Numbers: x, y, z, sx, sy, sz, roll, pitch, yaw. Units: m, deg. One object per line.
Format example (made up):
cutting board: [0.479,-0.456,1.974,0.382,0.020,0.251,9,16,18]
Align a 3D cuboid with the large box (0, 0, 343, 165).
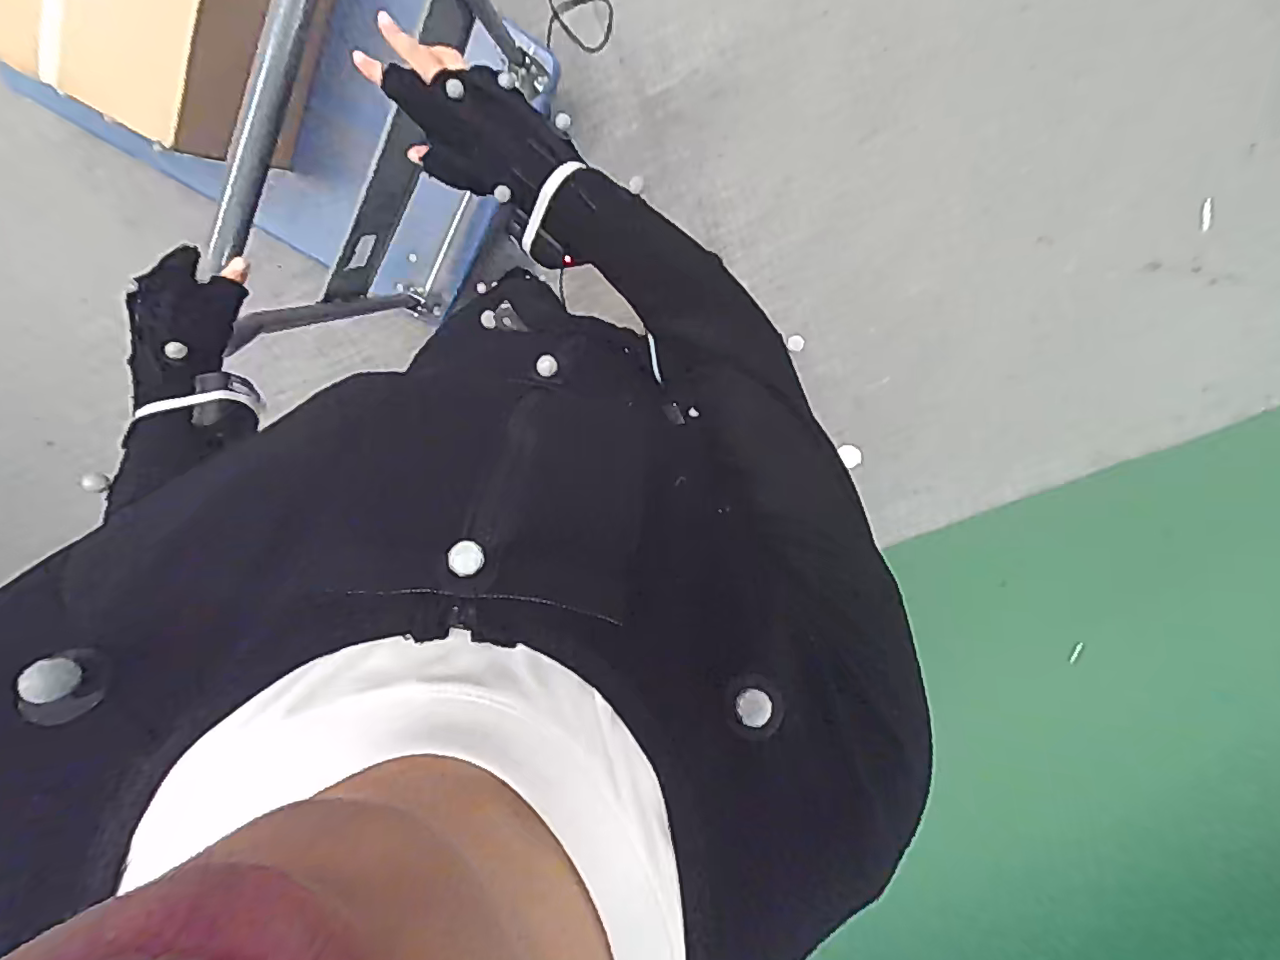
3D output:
large box: [-0.704,-0.778,0.830,0.320,0.320,0.408,28,112,-12]
